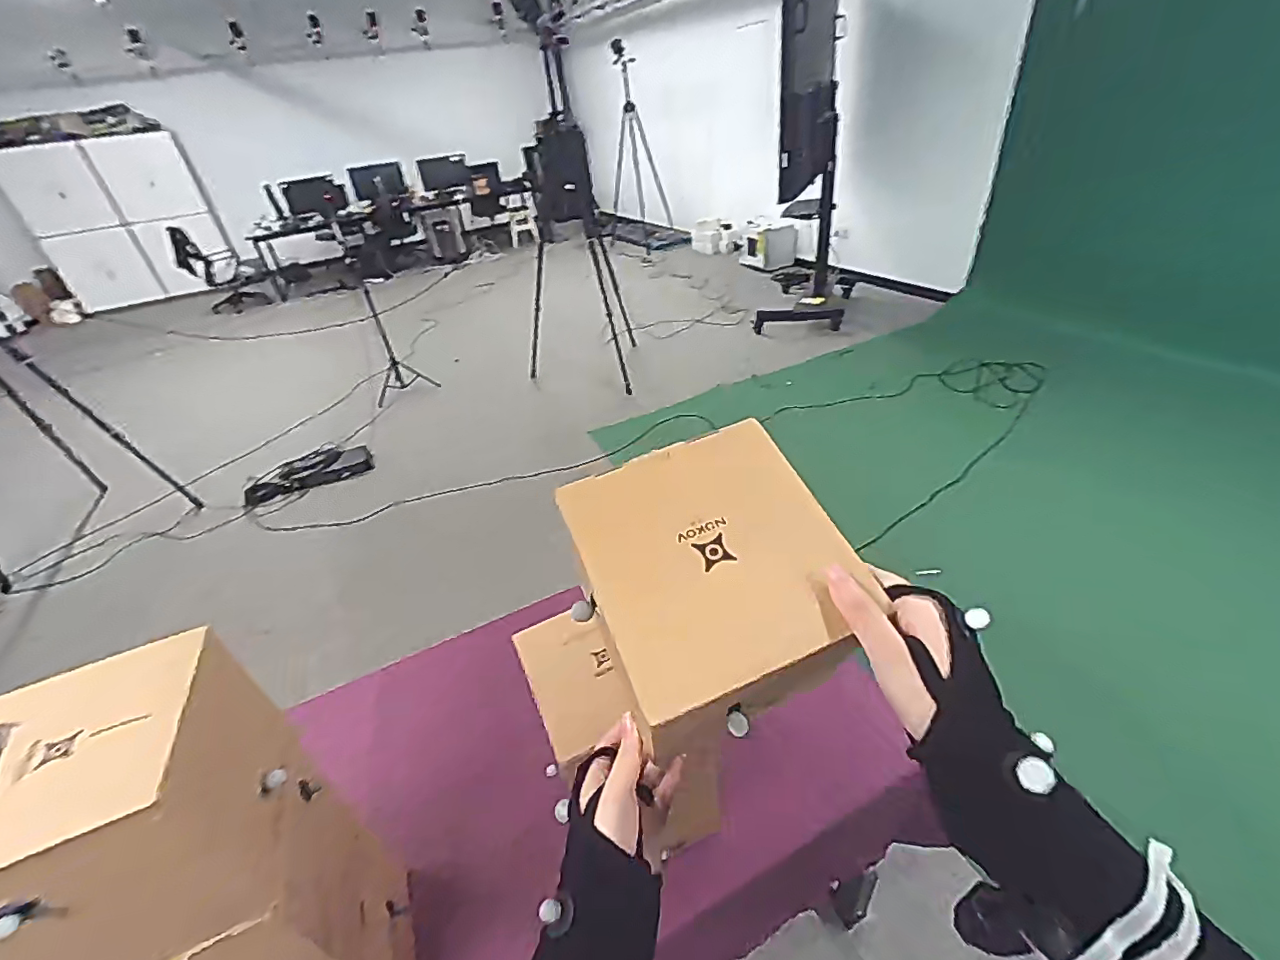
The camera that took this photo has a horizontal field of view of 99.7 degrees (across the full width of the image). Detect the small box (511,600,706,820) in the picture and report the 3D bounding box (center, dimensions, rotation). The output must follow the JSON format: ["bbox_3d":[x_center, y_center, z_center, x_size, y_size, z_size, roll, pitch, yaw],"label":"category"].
[{"bbox_3d":[-0.033,0.262,0.637,0.168,0.176,0.179,-21,37,-18],"label":"small box"}]

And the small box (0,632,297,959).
[{"bbox_3d":[-0.405,0.261,0.422,0.179,0.176,0.168,-19,37,-17],"label":"small box"}]

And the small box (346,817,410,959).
[{"bbox_3d":[-0.371,0.534,0.605,0.179,0.176,0.168,-22,37,-20],"label":"small box"}]

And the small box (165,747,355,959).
[{"bbox_3d":[-0.391,0.397,0.514,0.168,0.176,0.179,-21,37,-18],"label":"small box"}]

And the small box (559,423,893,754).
[{"bbox_3d":[0.052,0.092,0.422,0.168,0.176,0.179,-20,57,-11],"label":"small box"}]
